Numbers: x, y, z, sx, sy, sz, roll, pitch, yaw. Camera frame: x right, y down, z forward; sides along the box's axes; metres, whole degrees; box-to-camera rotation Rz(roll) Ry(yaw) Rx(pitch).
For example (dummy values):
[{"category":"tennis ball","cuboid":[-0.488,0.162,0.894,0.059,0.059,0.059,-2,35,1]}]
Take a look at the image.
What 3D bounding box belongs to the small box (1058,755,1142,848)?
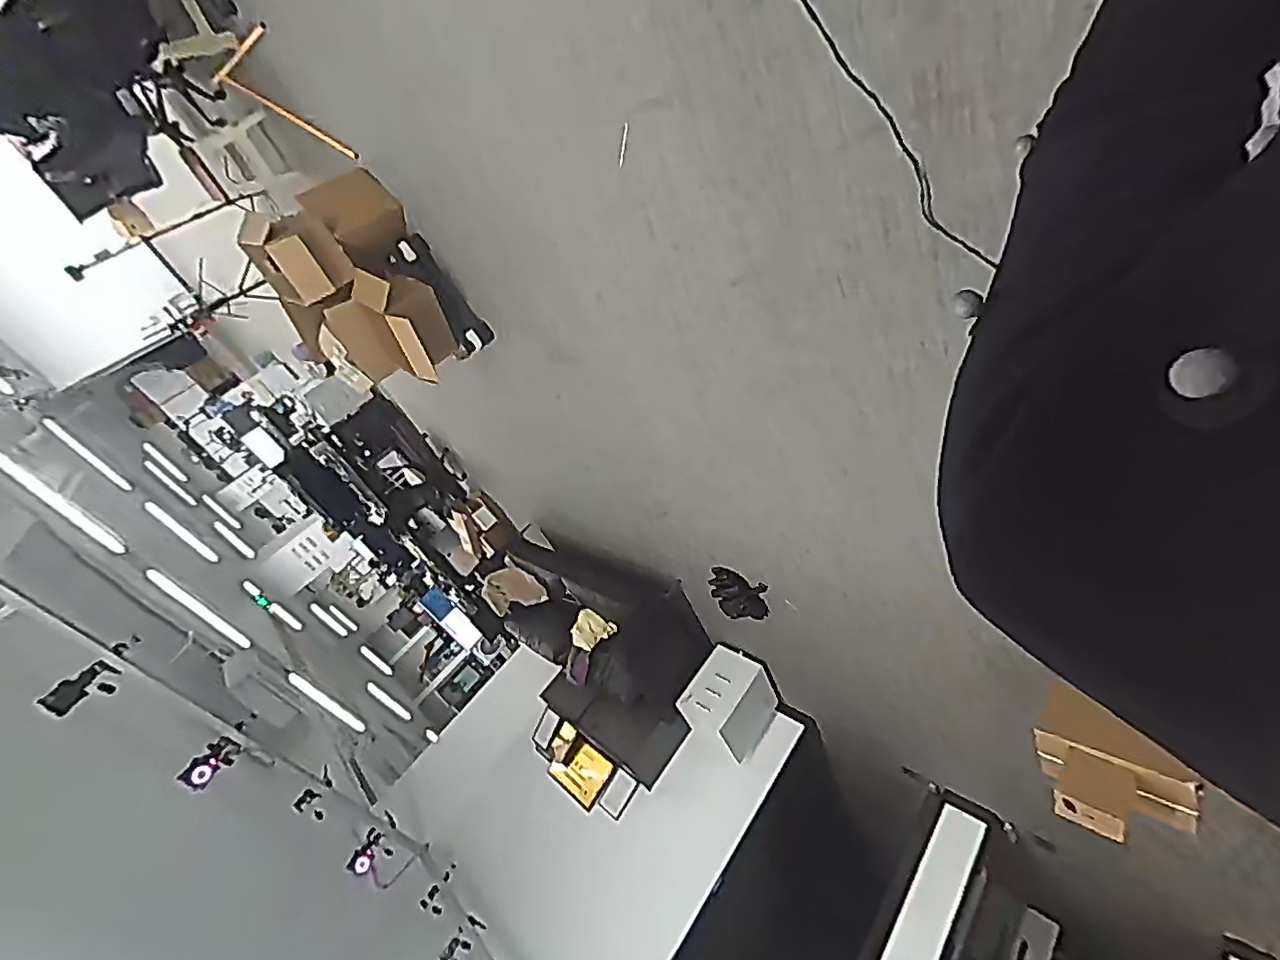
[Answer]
[{"category":"small box","cuboid":[1.473,1.019,1.735,0.179,0.176,0.168,11,139,47]}]
